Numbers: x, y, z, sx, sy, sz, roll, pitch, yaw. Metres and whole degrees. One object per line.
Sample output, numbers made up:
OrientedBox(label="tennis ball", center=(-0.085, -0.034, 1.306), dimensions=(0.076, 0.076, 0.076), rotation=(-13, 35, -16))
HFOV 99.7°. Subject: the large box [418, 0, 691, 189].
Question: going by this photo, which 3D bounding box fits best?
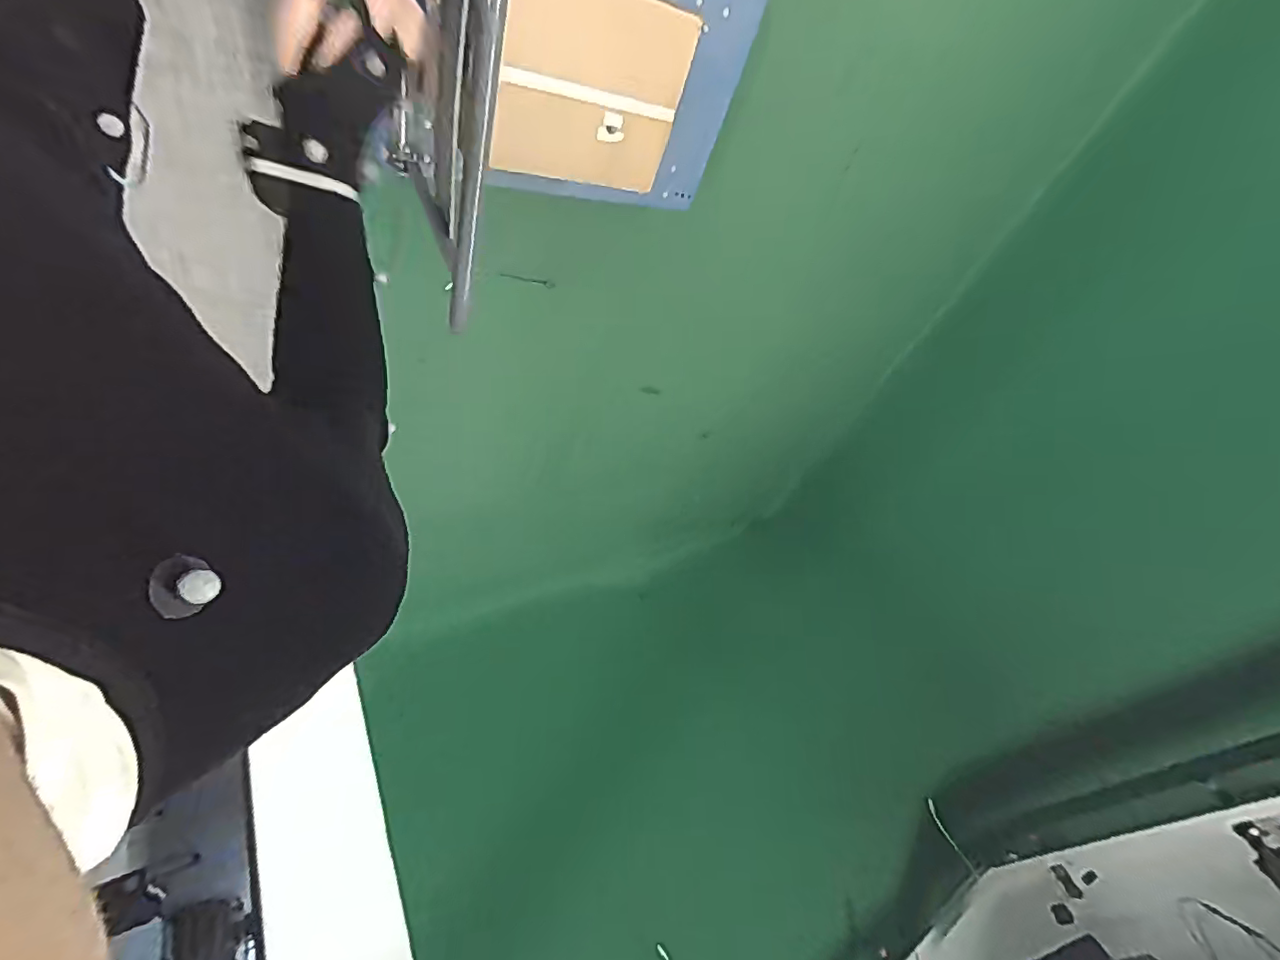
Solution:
OrientedBox(label="large box", center=(-0.186, -0.814, 1.055), dimensions=(0.408, 0.320, 0.320), rotation=(-11, 144, -33))
